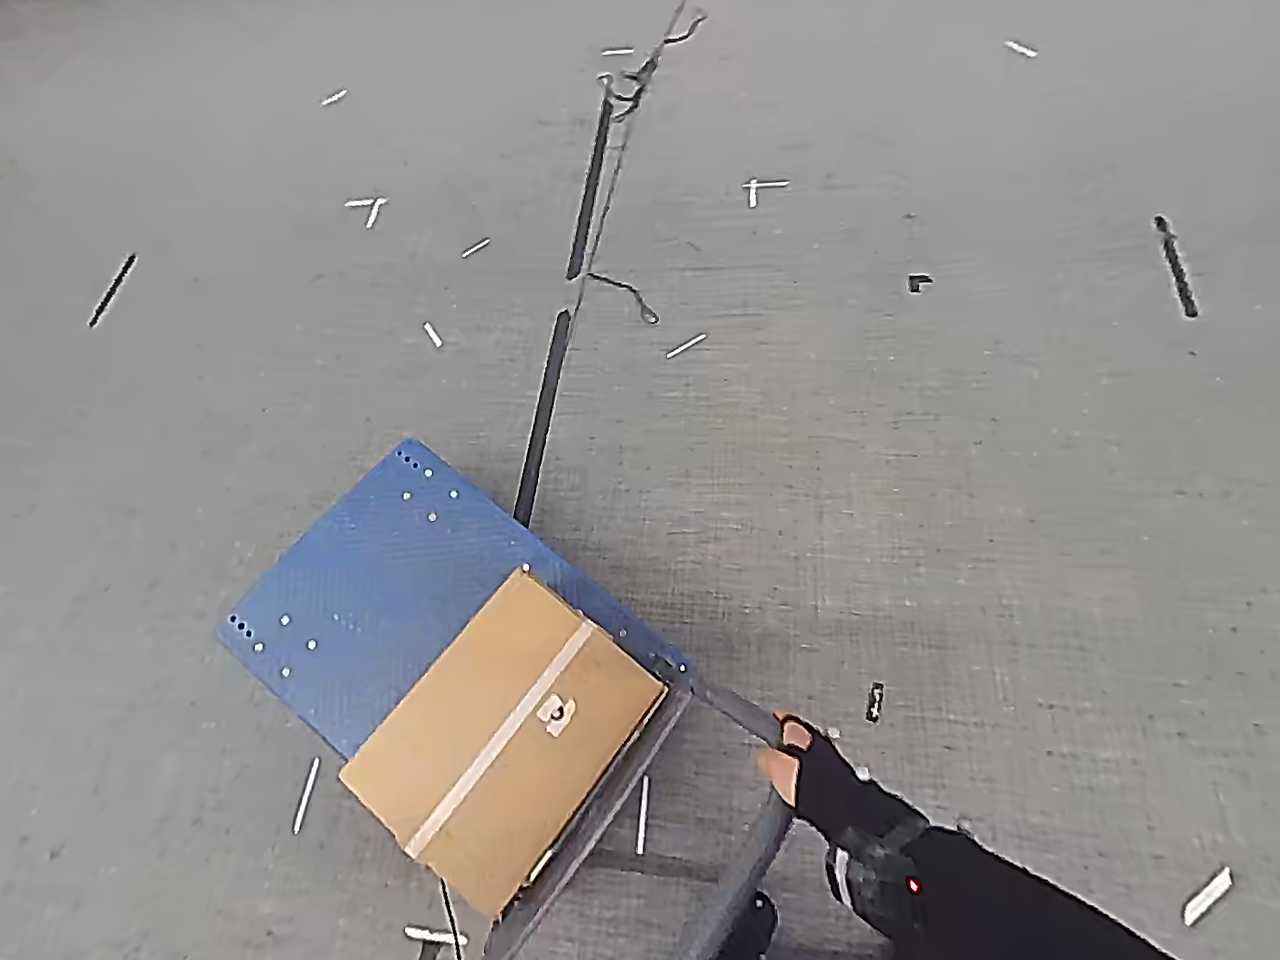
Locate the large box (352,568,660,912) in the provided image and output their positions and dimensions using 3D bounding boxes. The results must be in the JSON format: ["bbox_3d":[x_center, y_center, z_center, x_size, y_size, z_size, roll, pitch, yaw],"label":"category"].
[{"bbox_3d":[-0.213,0.434,0.990,0.320,0.320,0.408,37,73,7],"label":"large box"}]
